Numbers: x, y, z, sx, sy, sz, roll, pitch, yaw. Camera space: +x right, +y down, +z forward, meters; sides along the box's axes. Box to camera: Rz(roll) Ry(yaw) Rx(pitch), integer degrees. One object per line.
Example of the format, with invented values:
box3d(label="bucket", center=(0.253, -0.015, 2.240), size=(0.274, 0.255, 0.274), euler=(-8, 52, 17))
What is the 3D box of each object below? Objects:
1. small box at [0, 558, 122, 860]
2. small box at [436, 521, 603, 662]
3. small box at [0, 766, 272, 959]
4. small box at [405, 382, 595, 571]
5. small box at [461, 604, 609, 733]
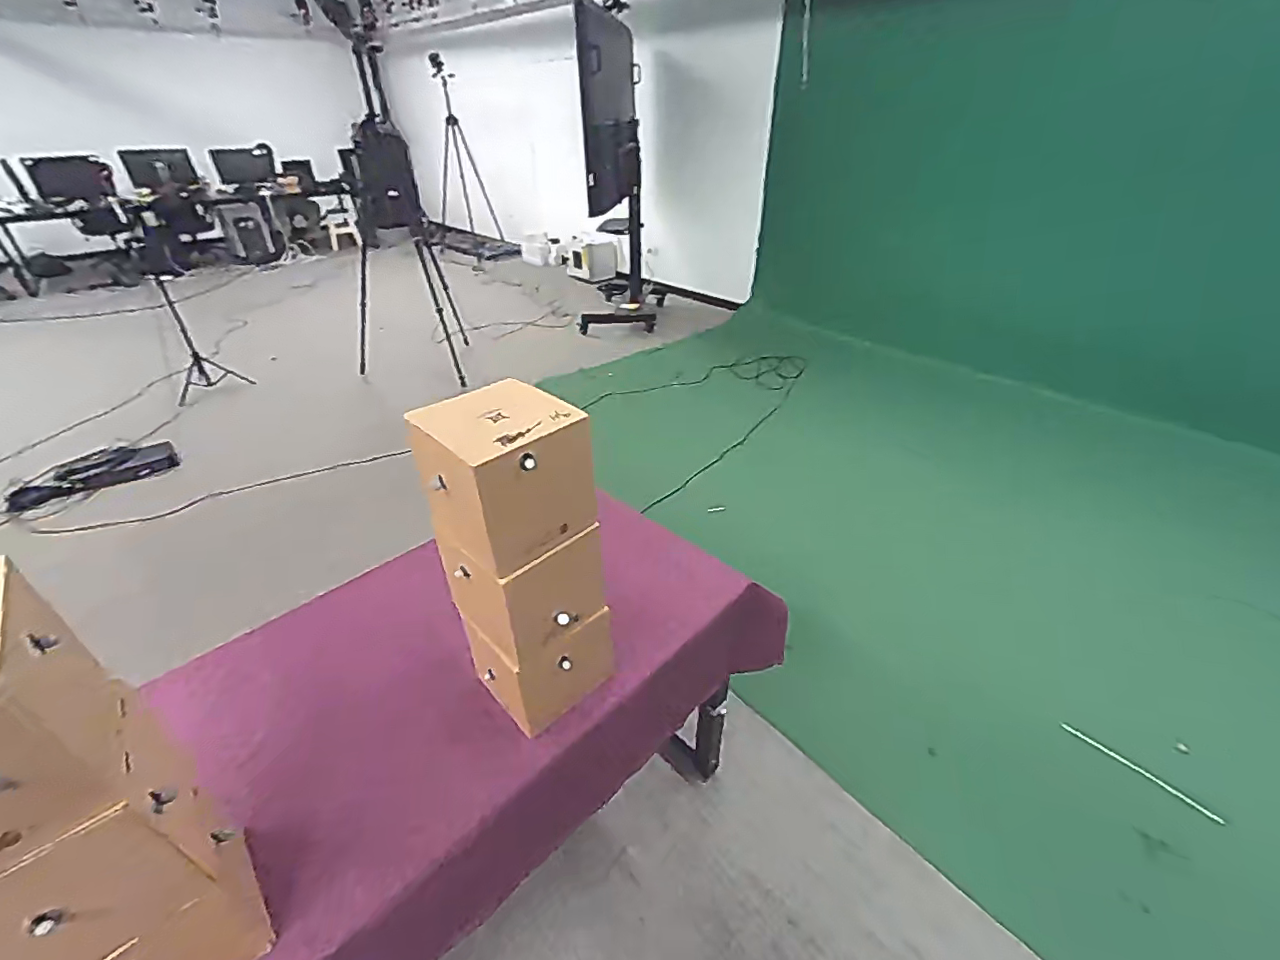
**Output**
box3d(label="small box", center=(-0.552, 0.200, 0.422), size=(0.168, 0.176, 0.179), euler=(-27, 41, -34))
box3d(label="small box", center=(-0.173, 0.131, 0.803), size=(0.179, 0.176, 0.168), euler=(29, 44, 36))
box3d(label="small box", center=(-0.546, 0.475, 0.600), size=(0.168, 0.176, 0.179), euler=(-28, 43, -34))
box3d(label="small box", center=(-0.179, -0.010, 0.717), size=(0.168, 0.176, 0.179), euler=(-30, 42, -35))
box3d(label="small box", center=(-0.164, 0.271, 0.890), size=(0.179, 0.176, 0.168), euler=(-28, 43, -34))
